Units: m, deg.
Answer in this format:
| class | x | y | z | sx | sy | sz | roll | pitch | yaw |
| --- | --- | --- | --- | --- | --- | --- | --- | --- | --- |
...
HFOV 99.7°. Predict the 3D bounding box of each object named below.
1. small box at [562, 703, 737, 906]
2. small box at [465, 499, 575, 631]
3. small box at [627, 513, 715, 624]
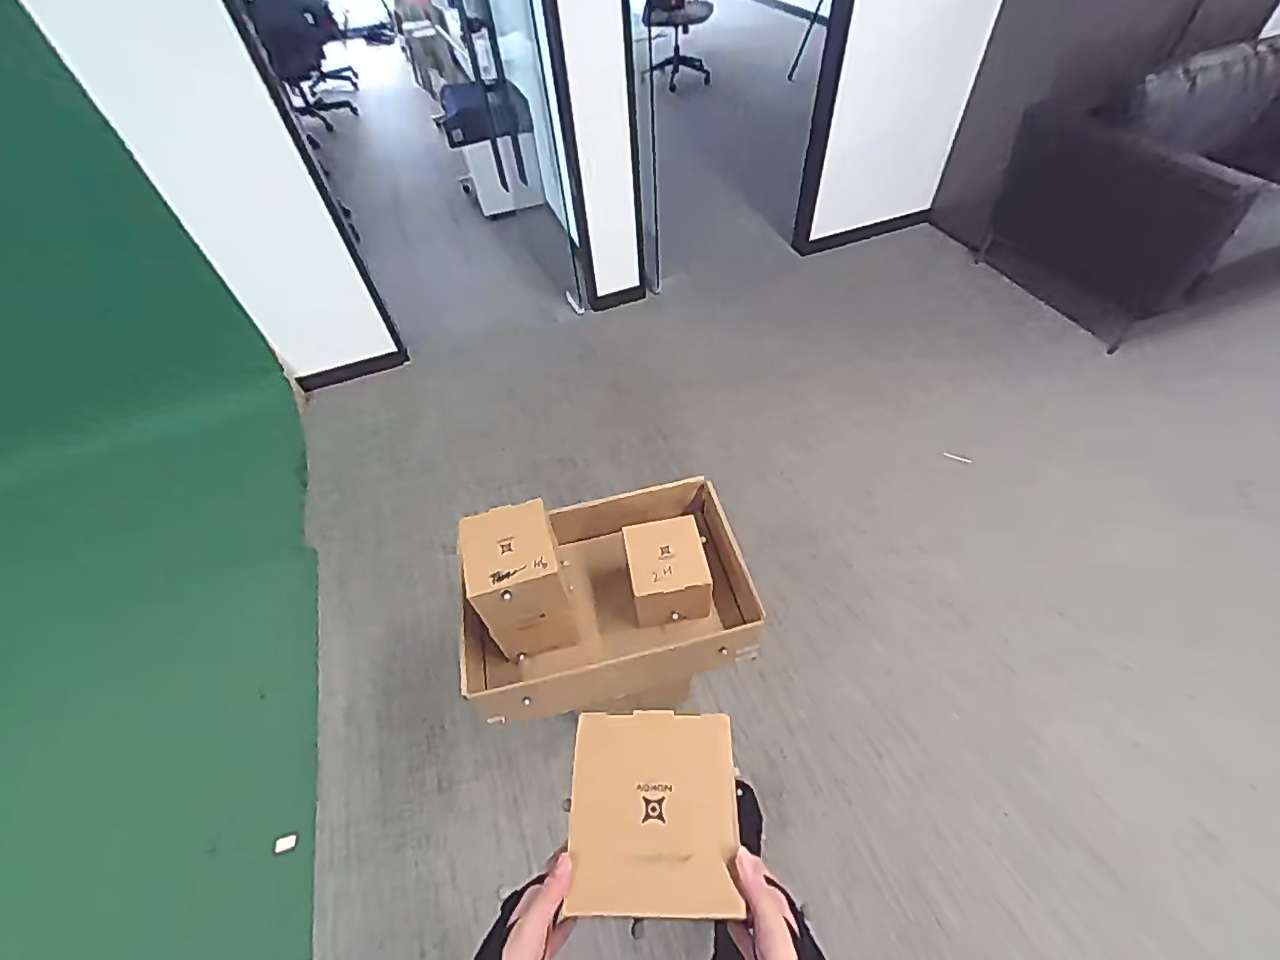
| class | x | y | z | sx | sy | sz | roll | pitch | yaw |
| --- | --- | --- | --- | --- | --- | --- | --- | --- | --- |
| small box | 0.014 | 0.367 | 0.610 | 0.168 | 0.176 | 0.179 | -1 | 52 | 3 |
| small box | -0.236 | 0.170 | 1.075 | 0.168 | 0.176 | 0.179 | -16 | 52 | -6 |
| small box | 0.068 | 0.203 | 1.224 | 0.168 | 0.176 | 0.179 | -10 | 52 | -2 |
